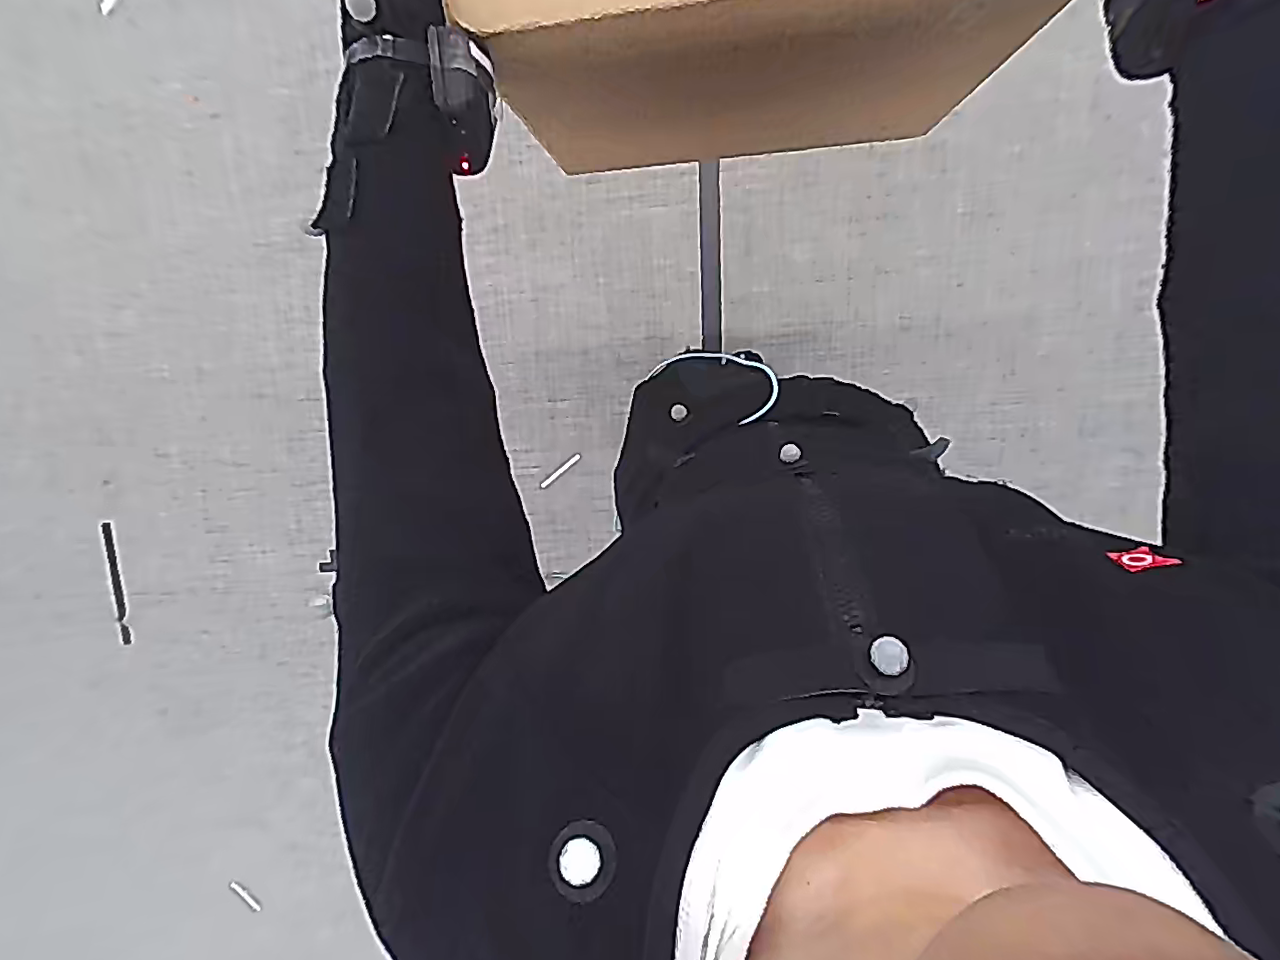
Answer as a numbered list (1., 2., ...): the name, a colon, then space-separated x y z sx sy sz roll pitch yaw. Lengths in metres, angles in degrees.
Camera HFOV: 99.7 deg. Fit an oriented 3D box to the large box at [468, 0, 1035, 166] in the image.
1. large box: 0.084 -0.490 0.435 0.408 0.320 0.320 -3 105 6
